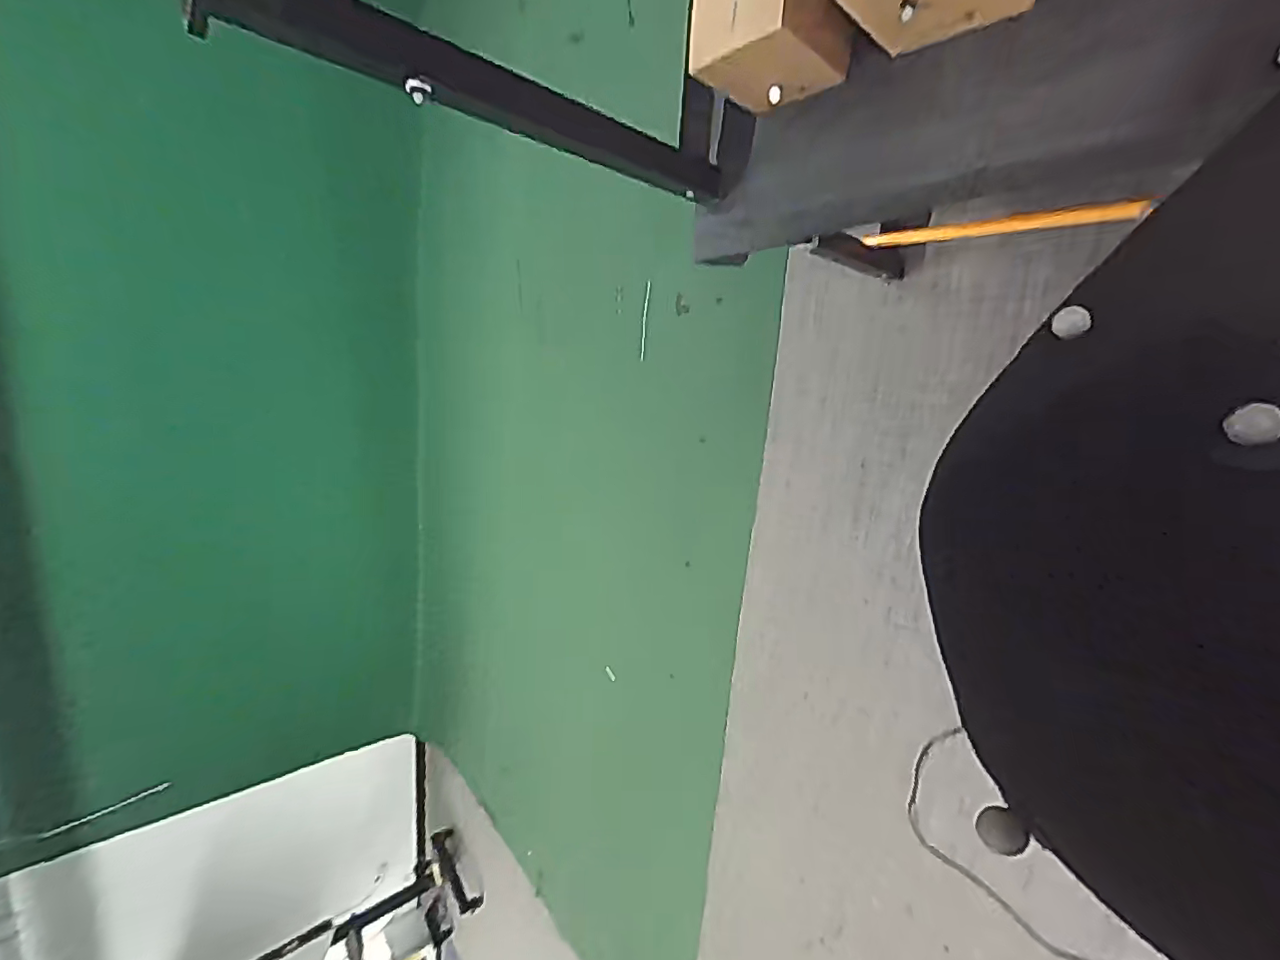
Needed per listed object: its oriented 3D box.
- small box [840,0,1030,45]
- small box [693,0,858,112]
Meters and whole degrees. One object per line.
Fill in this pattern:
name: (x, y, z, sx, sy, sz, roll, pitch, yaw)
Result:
small box: (0.352, -0.640, 0.613, 0.168, 0.176, 0.179, 18, 107, 46)
small box: (0.200, -0.676, 0.778, 0.168, 0.176, 0.179, 16, 106, 47)
